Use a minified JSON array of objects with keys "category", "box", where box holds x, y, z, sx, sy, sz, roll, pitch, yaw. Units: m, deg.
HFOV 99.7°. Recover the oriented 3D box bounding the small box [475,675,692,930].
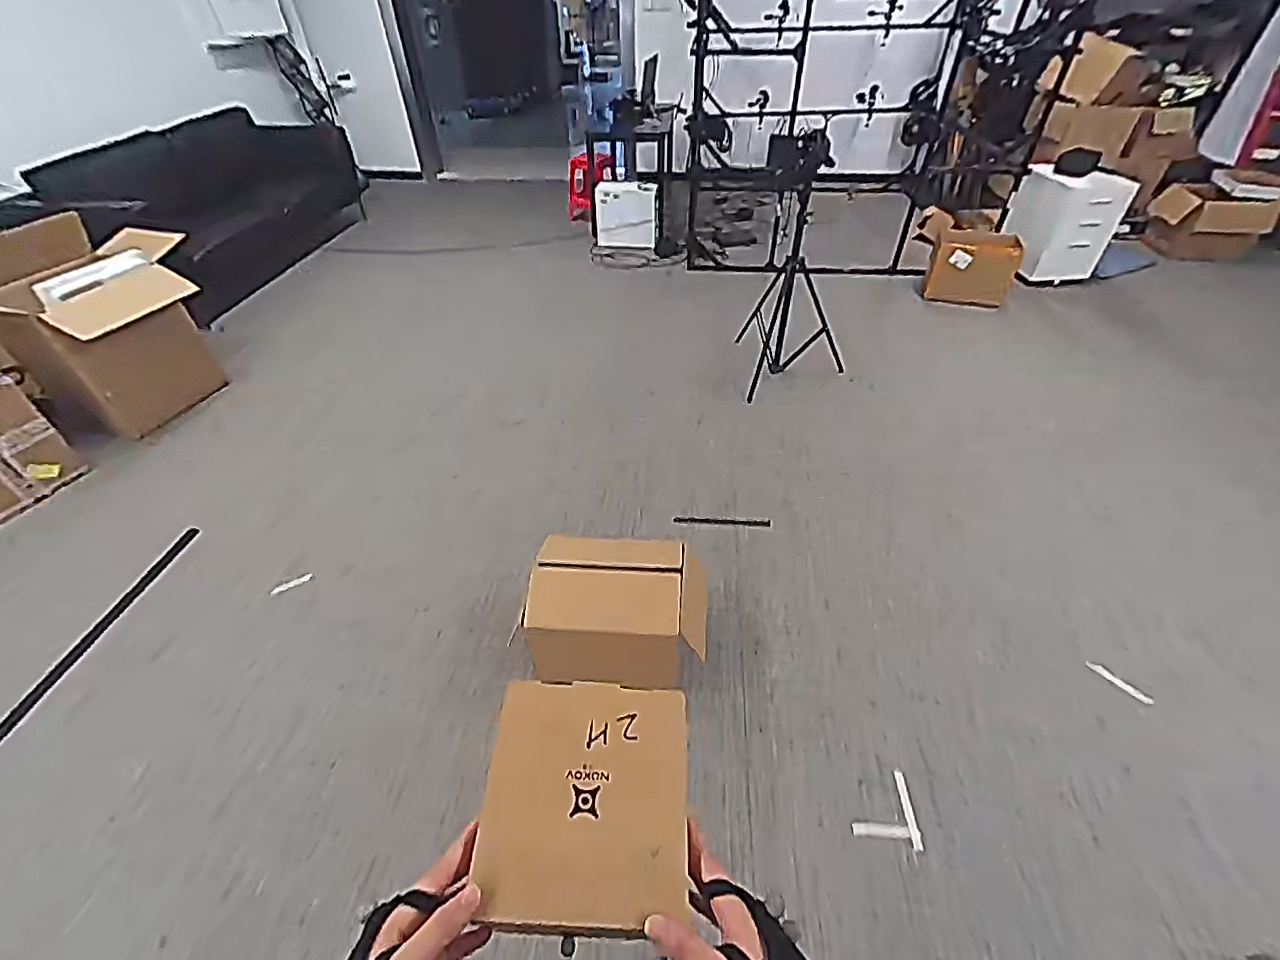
[{"category":"small box","box":[-0.044,0.309,0.514,0.168,0.176,0.179,5,47,-2]}]
